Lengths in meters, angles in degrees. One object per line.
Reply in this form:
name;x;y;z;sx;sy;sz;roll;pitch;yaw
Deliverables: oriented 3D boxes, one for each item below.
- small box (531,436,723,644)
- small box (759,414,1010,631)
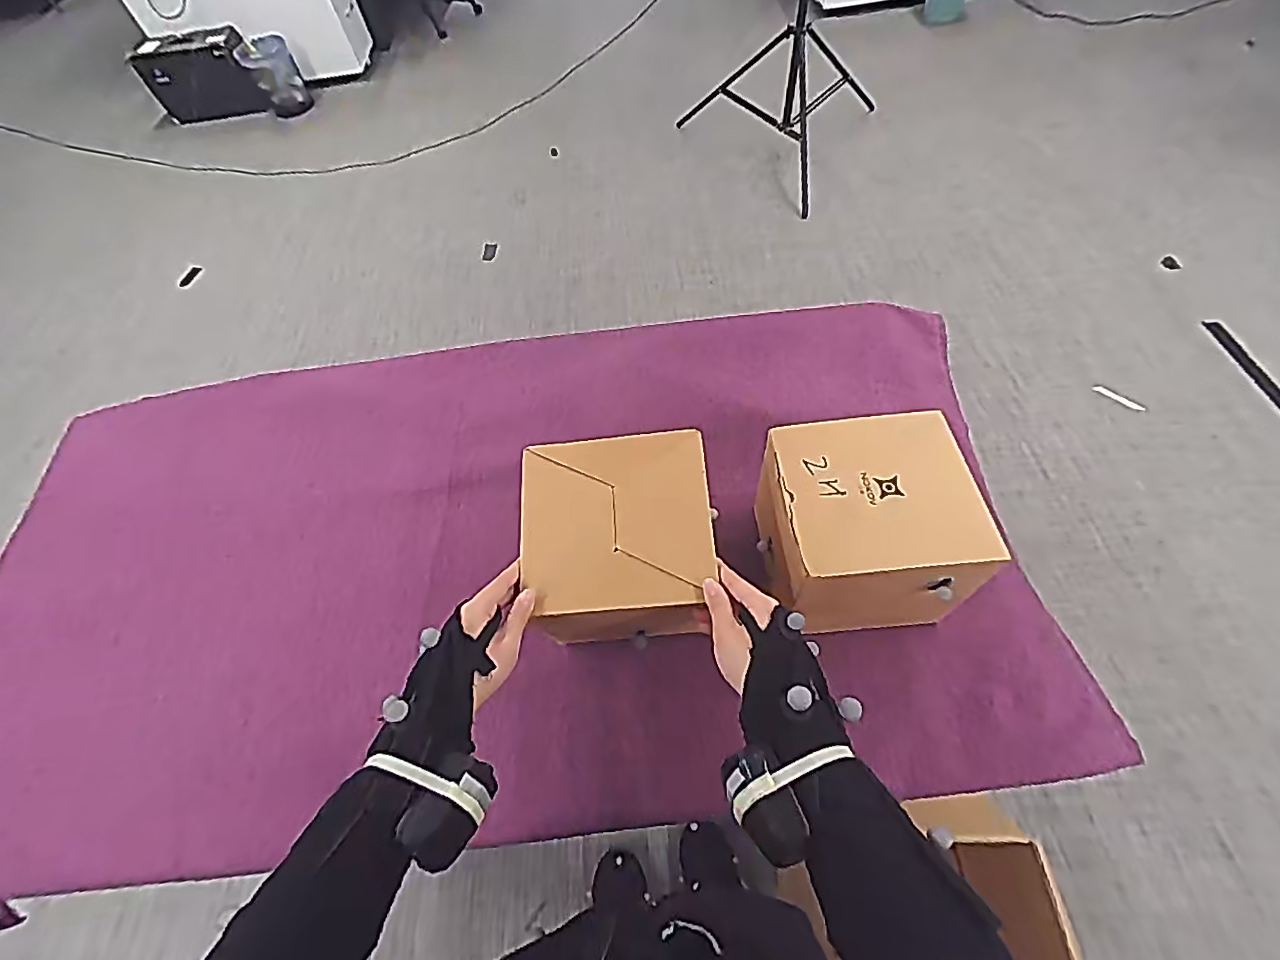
small box;-0.013;0.068;0.568;0.179;0.176;0.168;-6;64;4
small box;0.234;0.051;0.573;0.179;0.176;0.168;-5;56;2
